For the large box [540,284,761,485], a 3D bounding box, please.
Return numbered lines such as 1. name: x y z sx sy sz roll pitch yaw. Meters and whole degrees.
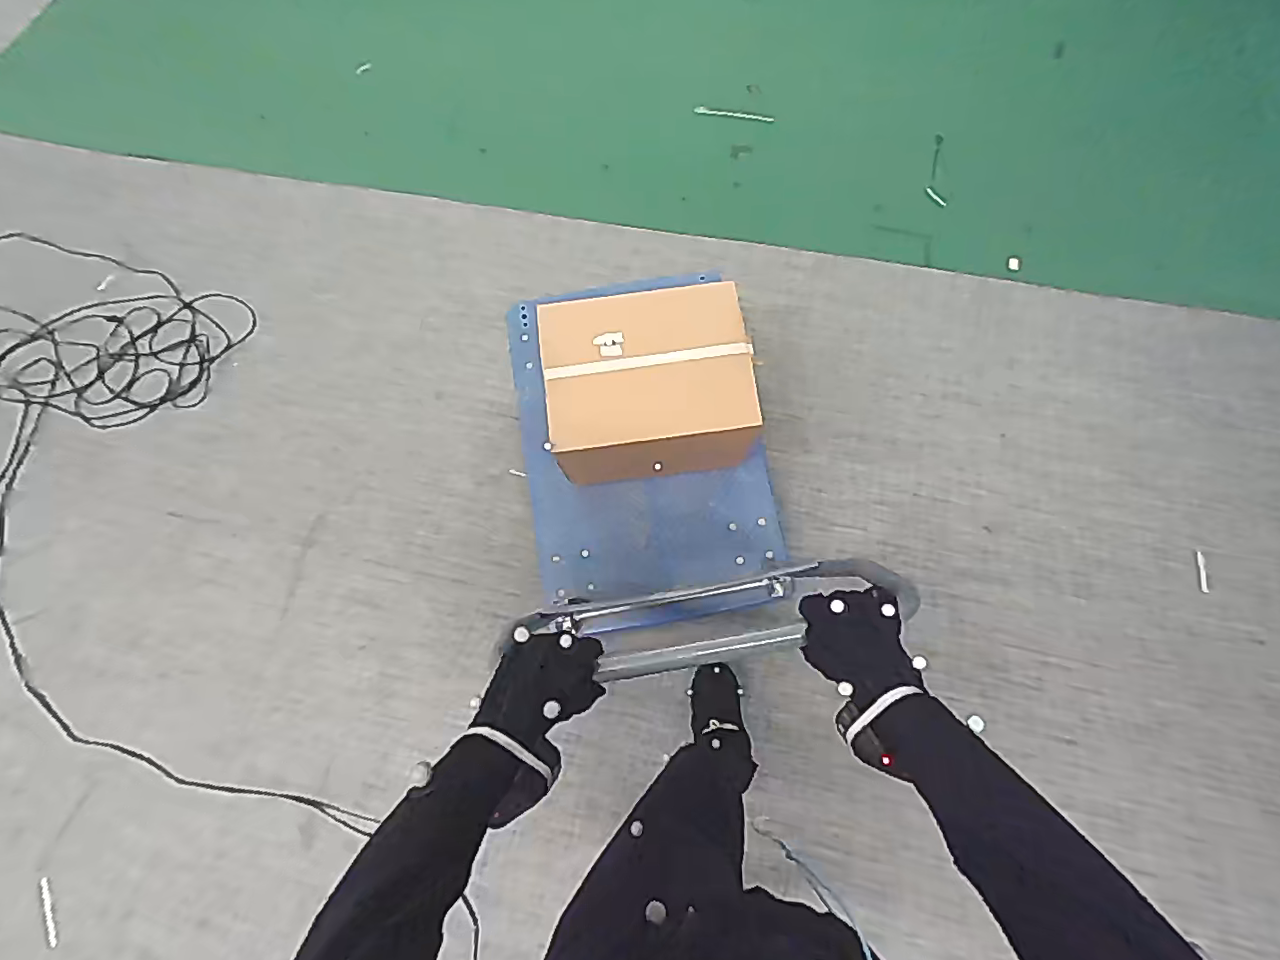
1. large box: 0.020 -0.188 1.196 0.408 0.320 0.320 -8 77 0
